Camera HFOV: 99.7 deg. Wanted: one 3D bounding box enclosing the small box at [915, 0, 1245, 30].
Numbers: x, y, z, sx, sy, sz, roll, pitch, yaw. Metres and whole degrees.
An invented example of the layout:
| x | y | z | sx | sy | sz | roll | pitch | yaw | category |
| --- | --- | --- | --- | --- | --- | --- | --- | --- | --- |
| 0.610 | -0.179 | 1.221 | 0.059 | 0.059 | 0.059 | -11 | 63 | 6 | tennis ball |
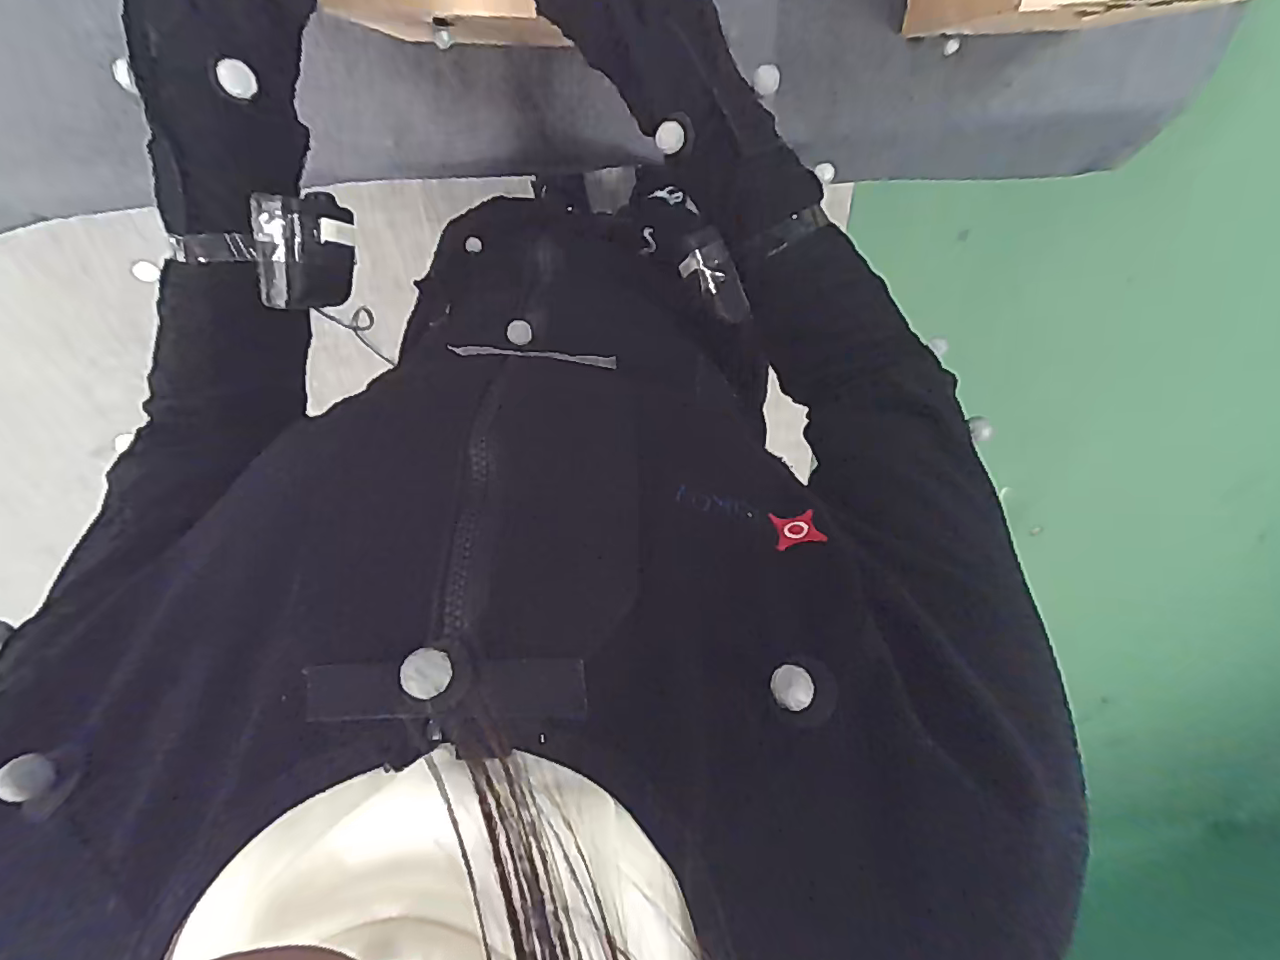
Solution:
| x | y | z | sx | sy | sz | roll | pitch | yaw | category |
| --- | --- | --- | --- | --- | --- | --- | --- | --- | --- |
| 0.312 | -0.421 | 0.361 | 0.168 | 0.176 | 0.179 | -4 | 124 | -1 | small box |

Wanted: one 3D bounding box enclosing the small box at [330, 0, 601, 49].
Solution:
| x | y | z | sx | sy | sz | roll | pitch | yaw | category |
| --- | --- | --- | --- | --- | --- | --- | --- | --- | --- |
| -0.110 | -0.398 | 0.343 | 0.168 | 0.176 | 0.179 | -1 | 124 | -4 | small box |
